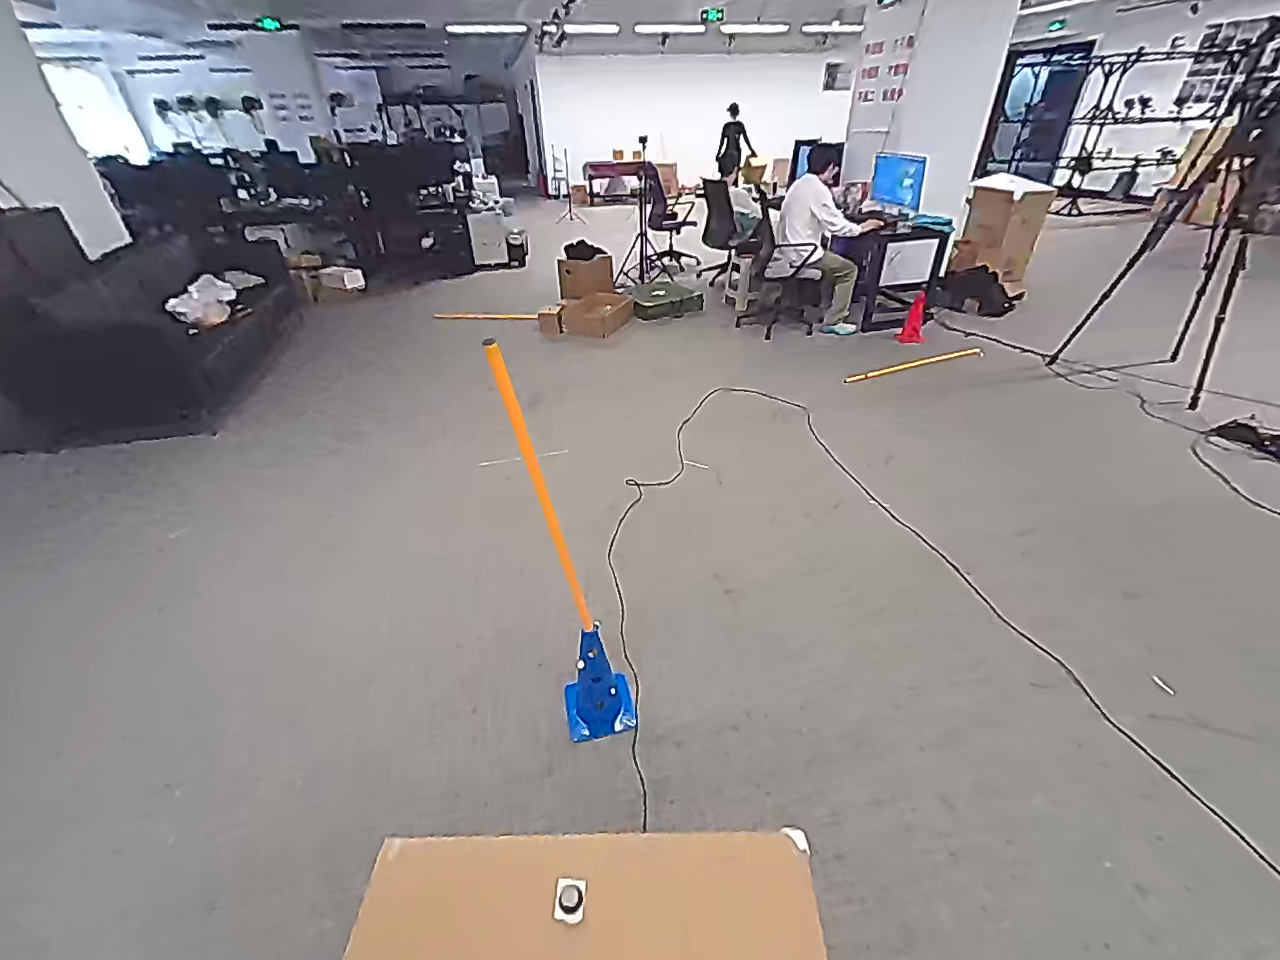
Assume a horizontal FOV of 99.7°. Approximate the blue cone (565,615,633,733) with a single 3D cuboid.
[{"bbox_3d":[-0.134,0.537,1.558,0.193,0.380,0.192,-12,35,-11],"label":"blue cone"}]
